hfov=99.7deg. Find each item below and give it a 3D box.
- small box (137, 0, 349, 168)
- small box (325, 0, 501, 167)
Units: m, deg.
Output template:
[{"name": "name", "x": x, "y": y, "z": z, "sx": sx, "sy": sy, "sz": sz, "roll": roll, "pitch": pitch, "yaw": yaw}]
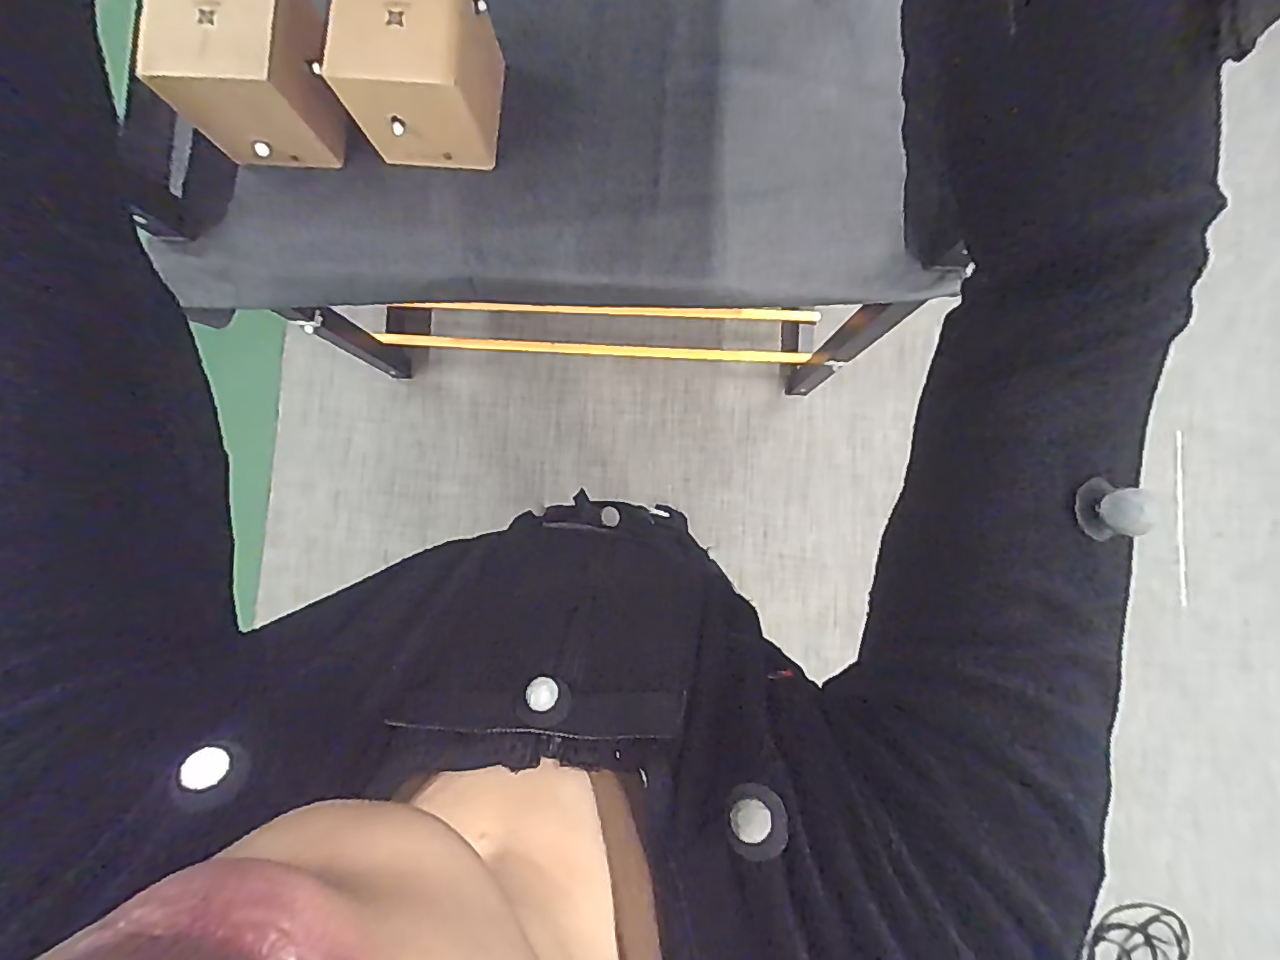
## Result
[{"name": "small box", "x": -0.524, "y": -0.569, "z": 0.743, "sx": 0.168, "sy": 0.176, "sz": 0.179, "roll": 3, "pitch": 86, "yaw": 0}, {"name": "small box", "x": -0.297, "y": -0.565, "z": 0.744, "sx": 0.168, "sy": 0.176, "sz": 0.179, "roll": 4, "pitch": 85, "yaw": 1}]
